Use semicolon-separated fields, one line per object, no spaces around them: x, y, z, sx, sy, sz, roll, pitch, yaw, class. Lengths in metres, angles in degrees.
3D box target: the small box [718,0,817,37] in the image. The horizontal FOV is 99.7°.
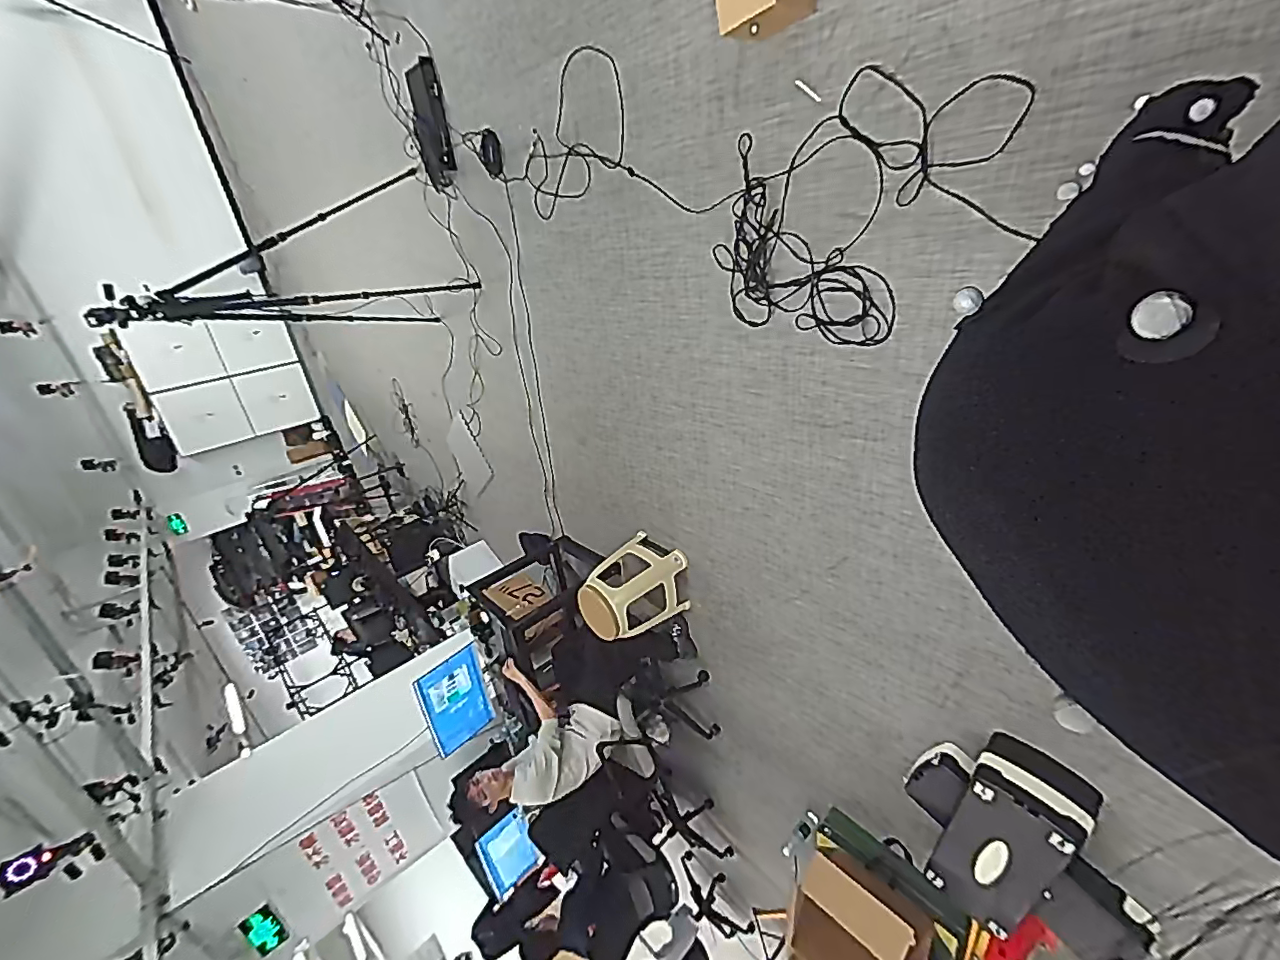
0.305;-1.213;1.314;0.179;0.176;0.168;13;123;48;small box
